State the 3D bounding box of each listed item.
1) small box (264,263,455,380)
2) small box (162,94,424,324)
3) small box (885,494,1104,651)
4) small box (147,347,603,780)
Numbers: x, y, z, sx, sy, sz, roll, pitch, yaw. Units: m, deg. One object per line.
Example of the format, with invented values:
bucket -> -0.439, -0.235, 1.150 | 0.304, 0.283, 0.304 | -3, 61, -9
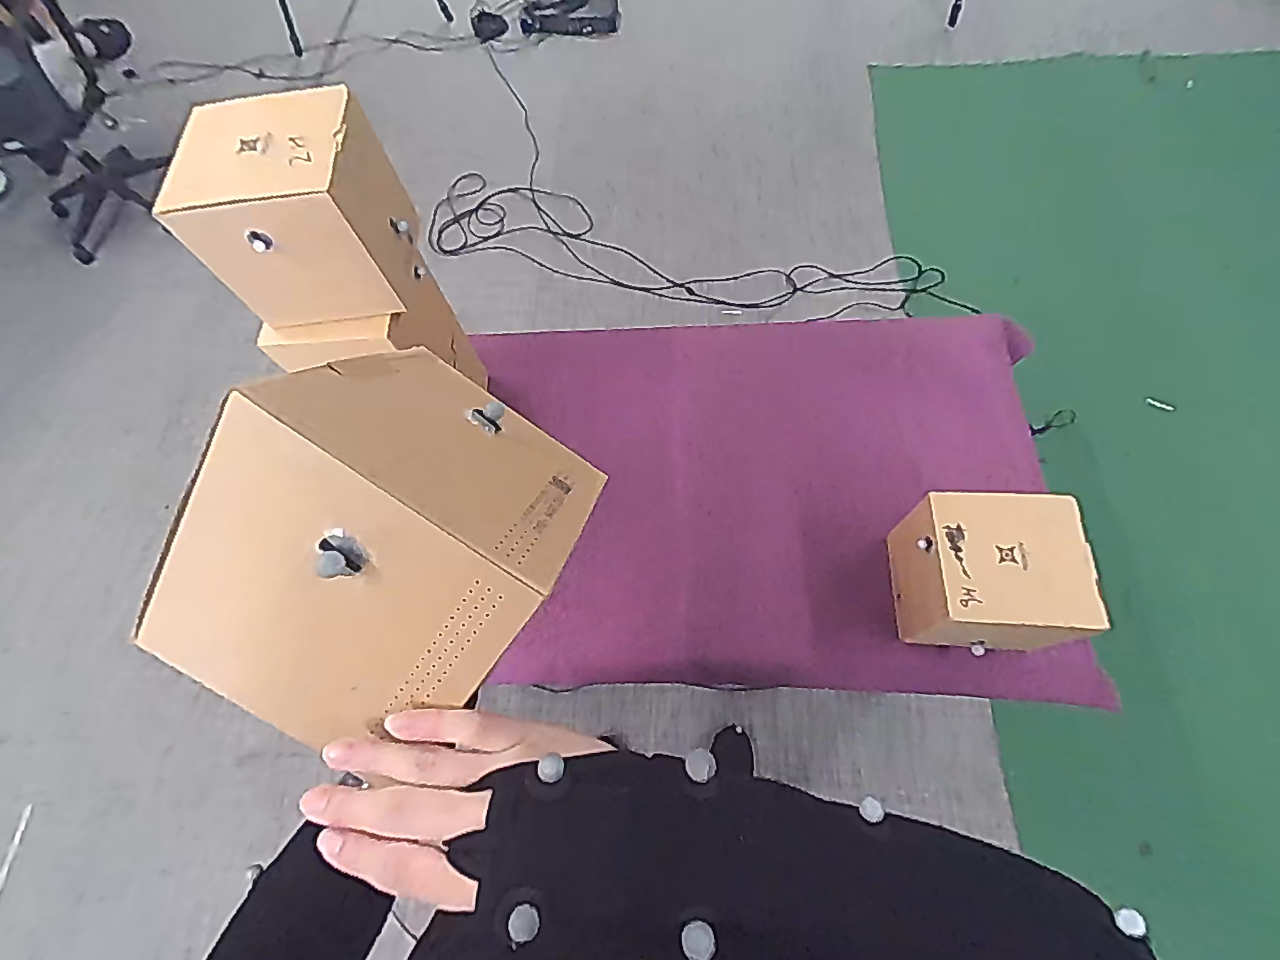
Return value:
small box -> -0.377, -0.209, 0.764 | 0.168, 0.176, 0.179 | -3, 65, 3
small box -> -0.376, -0.299, 0.624 | 0.179, 0.176, 0.168 | -6, 66, 1
small box -> 0.454, 0.131, 0.725 | 0.179, 0.176, 0.168 | 3, 65, 6
small box -> -0.144, 0.043, 0.348 | 0.176, 0.168, 0.179 | 35, 111, -6
